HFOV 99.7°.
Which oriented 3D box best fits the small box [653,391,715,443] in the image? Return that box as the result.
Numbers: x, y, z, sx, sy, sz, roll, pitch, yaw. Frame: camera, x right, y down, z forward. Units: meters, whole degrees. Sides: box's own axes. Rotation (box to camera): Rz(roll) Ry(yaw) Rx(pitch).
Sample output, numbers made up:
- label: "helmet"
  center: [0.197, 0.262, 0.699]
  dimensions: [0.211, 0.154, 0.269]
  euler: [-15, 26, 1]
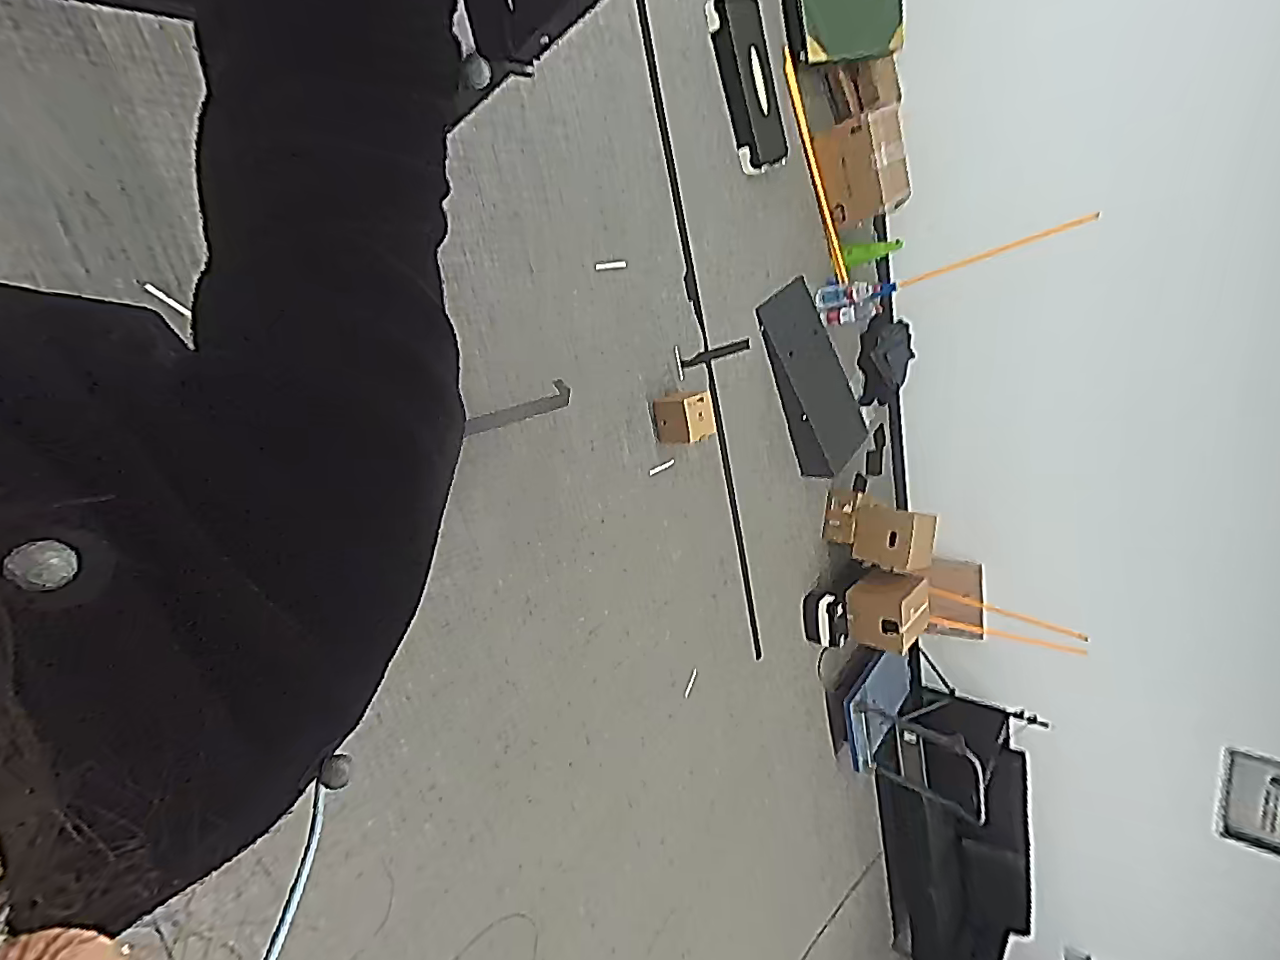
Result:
- label: "small box"
  center: [0.176, -0.257, 2.174]
  dimensions: [0.168, 0.176, 0.179]
  euler: [-25, 112, -40]
